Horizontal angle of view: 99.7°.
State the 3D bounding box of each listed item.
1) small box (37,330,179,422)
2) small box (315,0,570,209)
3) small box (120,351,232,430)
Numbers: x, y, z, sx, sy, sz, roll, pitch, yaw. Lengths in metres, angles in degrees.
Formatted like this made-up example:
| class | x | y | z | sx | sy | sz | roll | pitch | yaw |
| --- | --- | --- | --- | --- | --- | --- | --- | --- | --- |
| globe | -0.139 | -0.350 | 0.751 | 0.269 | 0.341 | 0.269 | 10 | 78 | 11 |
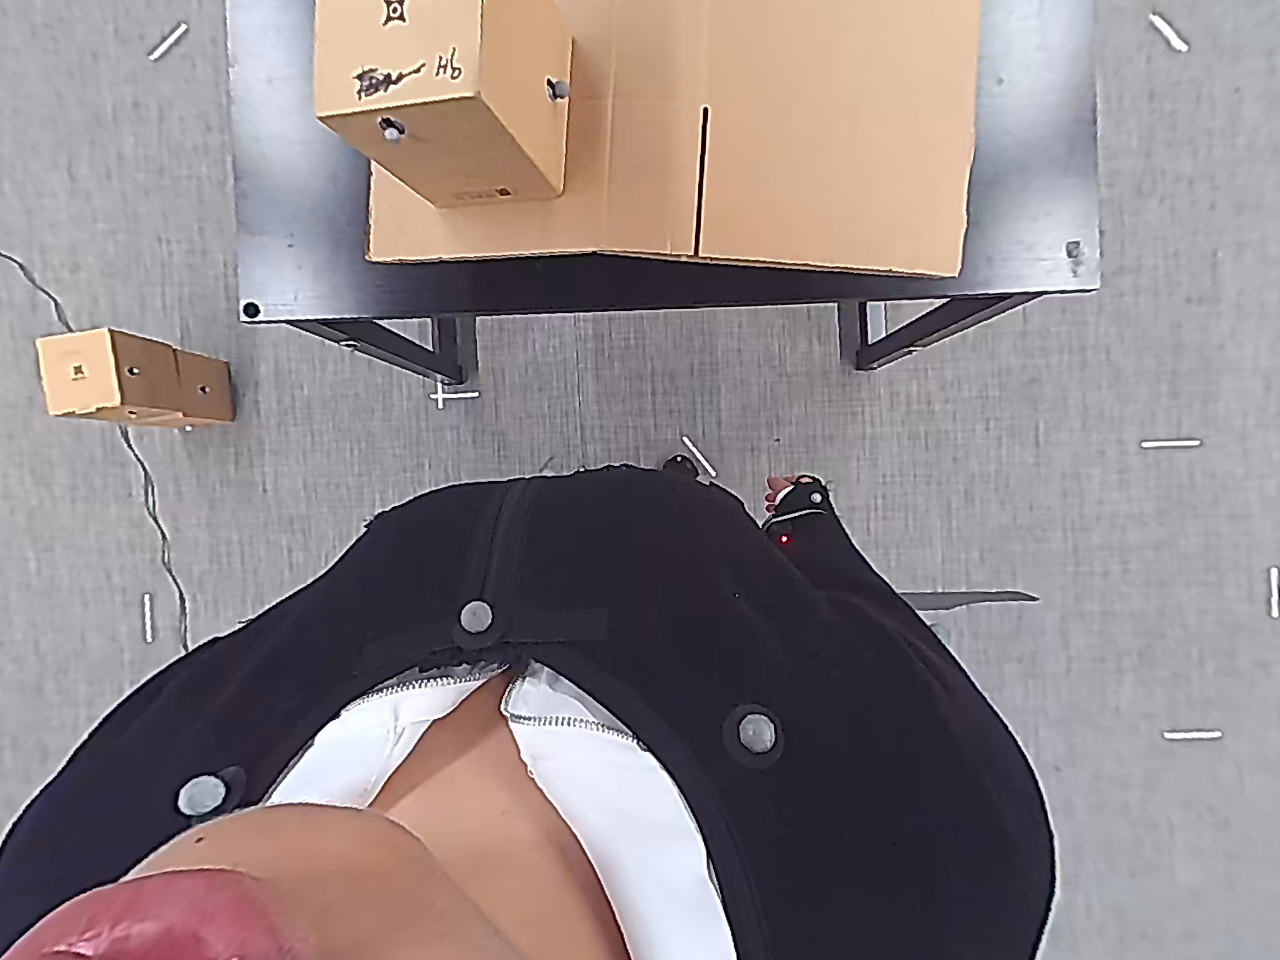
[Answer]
| class | x | y | z | sx | sy | sz | roll | pitch | yaw |
| --- | --- | --- | --- | --- | --- | --- | --- | --- | --- |
| small box | -1.234 | -0.235 | 1.269 | 0.168 | 0.176 | 0.179 | -9 | 90 | 0 |
| small box | -0.177 | -0.394 | 0.526 | 0.168 | 0.176 | 0.179 | 4 | 91 | 16 |
| small box | -1.229 | -0.232 | 1.432 | 0.168 | 0.176 | 0.179 | -6 | 92 | 1 |
